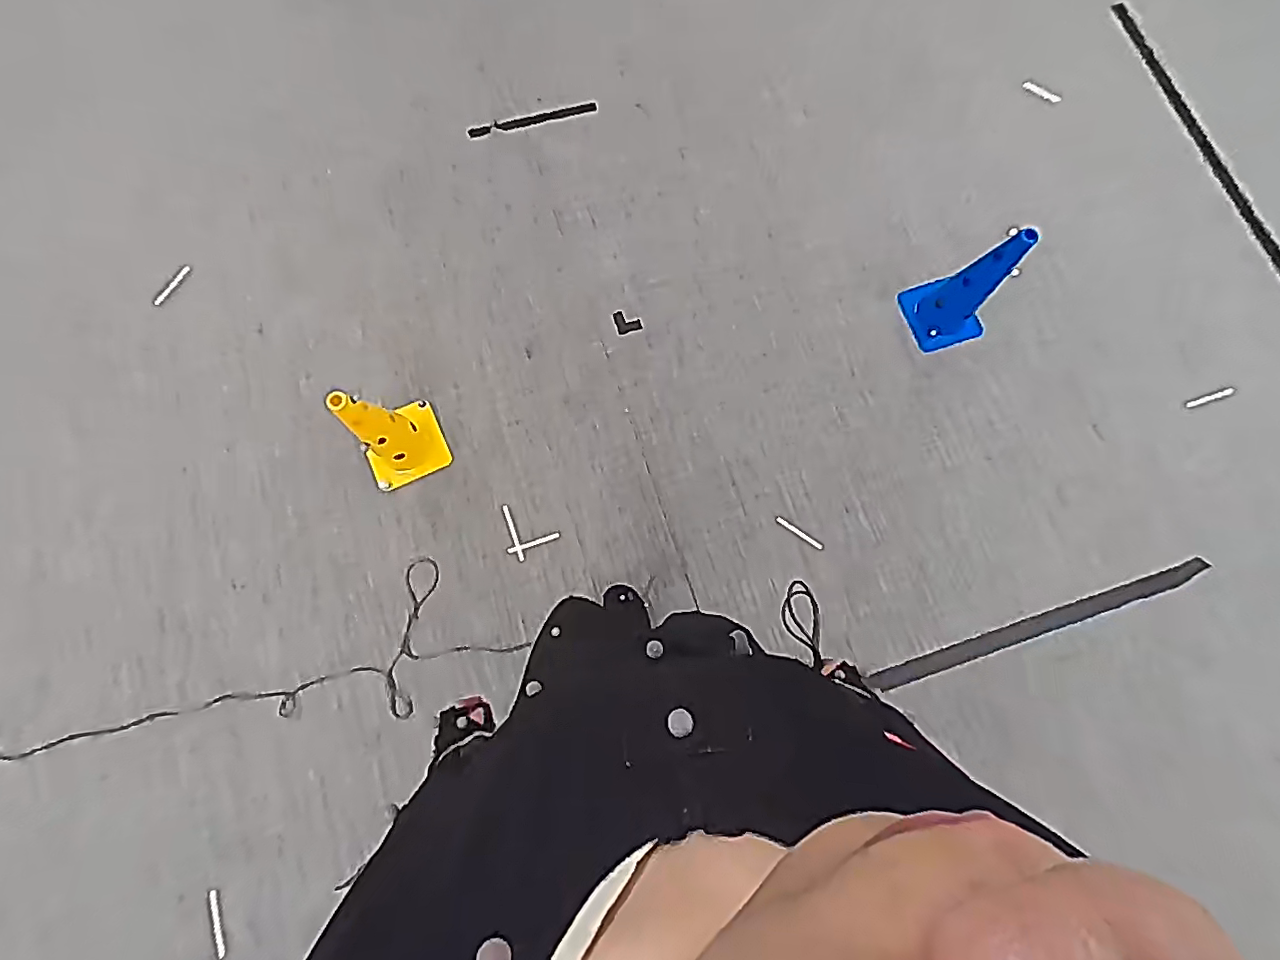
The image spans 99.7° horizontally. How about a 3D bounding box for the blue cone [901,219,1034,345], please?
[{"bbox_3d":[0.865,-0.520,1.386,0.193,0.380,0.192,-17,79,-5],"label":"blue cone"}]
